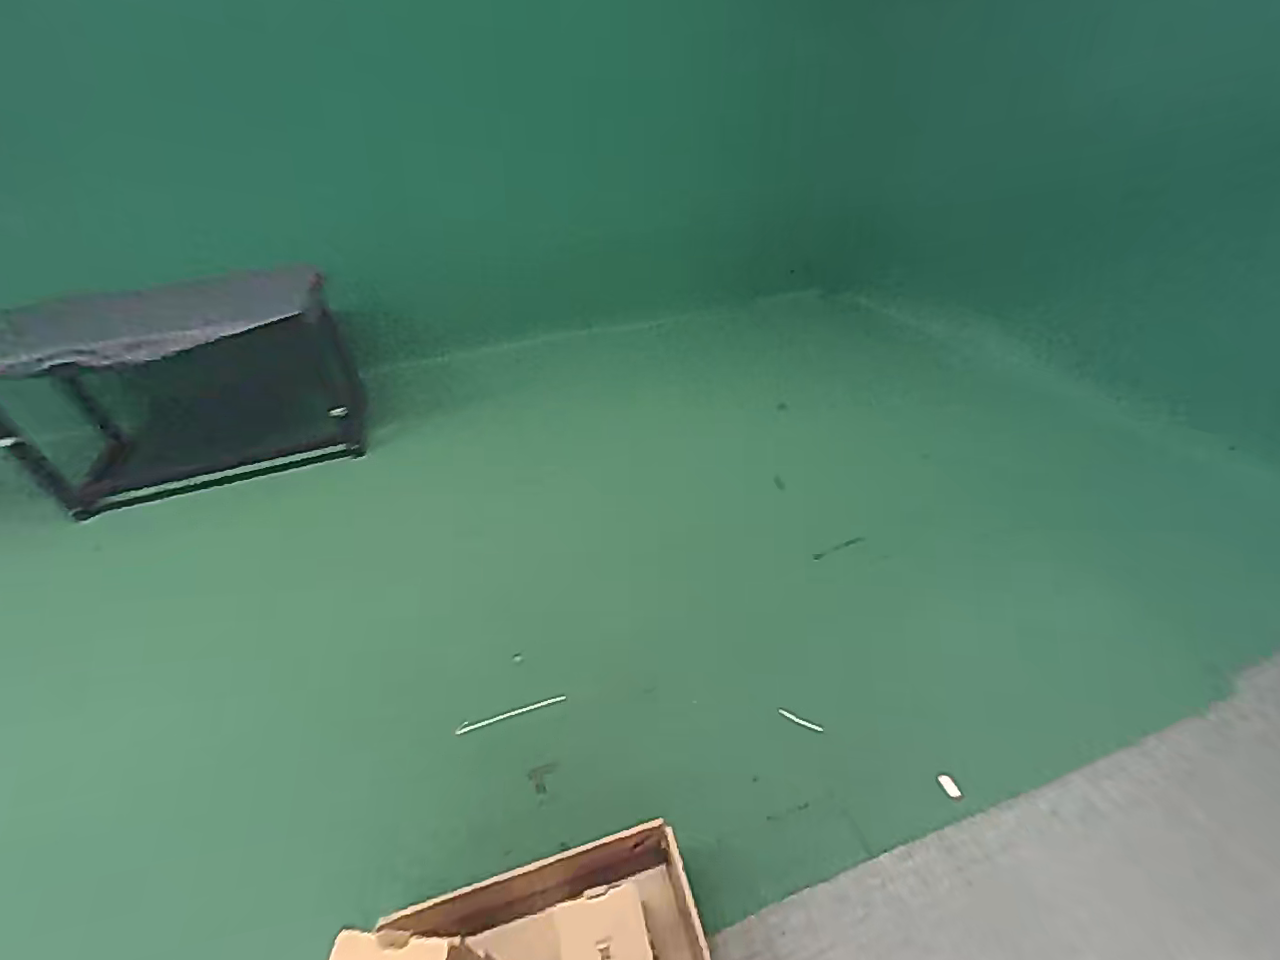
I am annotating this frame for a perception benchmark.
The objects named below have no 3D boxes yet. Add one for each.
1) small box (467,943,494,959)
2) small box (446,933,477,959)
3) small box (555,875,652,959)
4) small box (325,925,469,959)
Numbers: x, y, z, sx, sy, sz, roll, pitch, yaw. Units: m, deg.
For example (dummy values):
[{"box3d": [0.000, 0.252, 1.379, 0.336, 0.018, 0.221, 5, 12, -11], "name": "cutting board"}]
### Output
[{"box3d": [-0.337, 0.986, 0.968, 0.168, 0.176, 0.179, -14, 41, -13], "name": "small box"}, {"box3d": [-0.346, 0.869, 0.854, 0.168, 0.176, 0.179, -13, 40, -13], "name": "small box"}, {"box3d": [-0.065, 0.909, 1.044, 0.168, 0.176, 0.179, -11, 41, -8], "name": "small box"}, {"box3d": [-0.348, 0.748, 0.745, 0.168, 0.176, 0.179, 1, 39, 4], "name": "small box"}]
